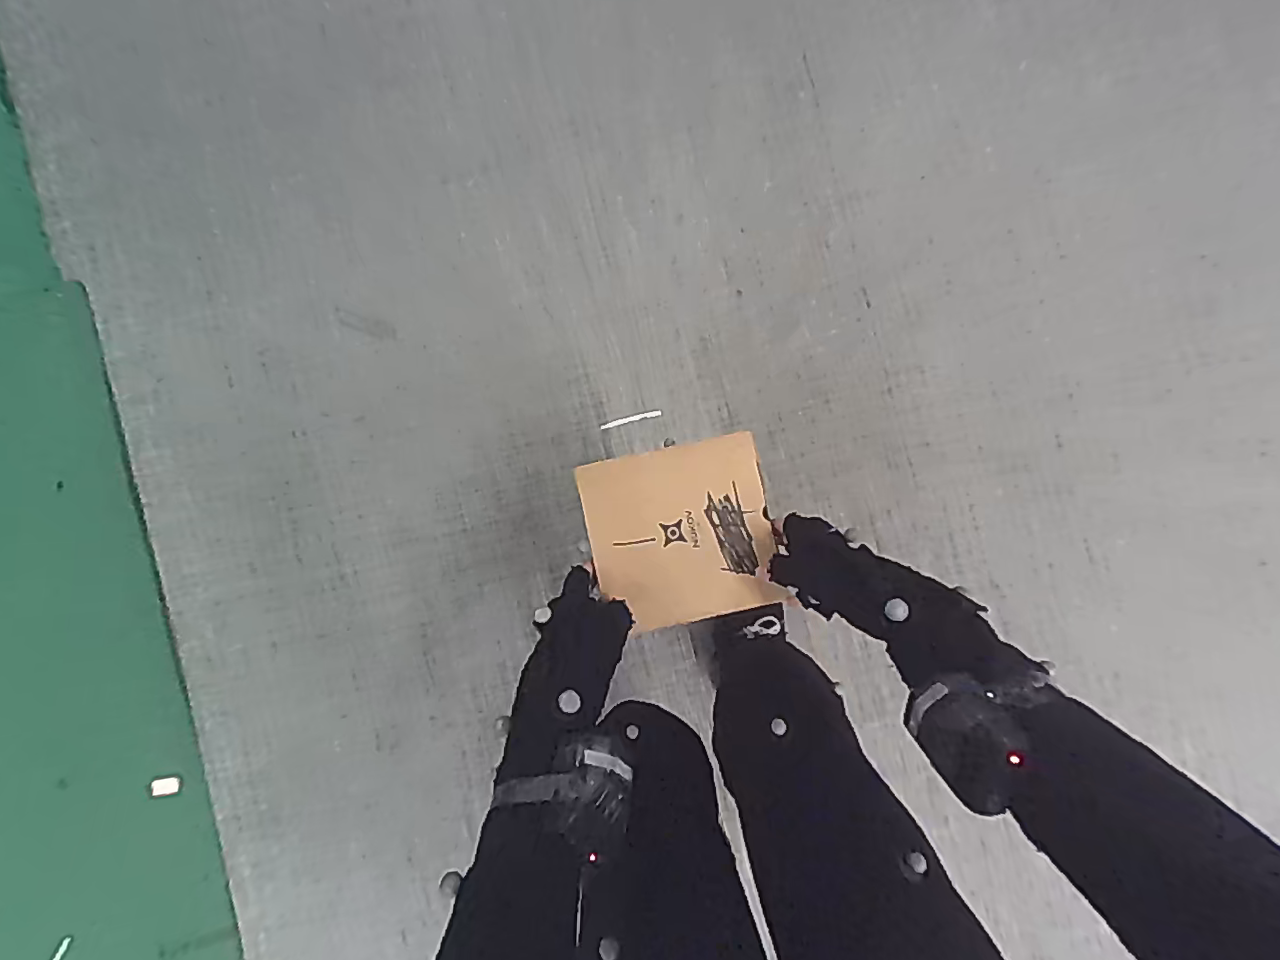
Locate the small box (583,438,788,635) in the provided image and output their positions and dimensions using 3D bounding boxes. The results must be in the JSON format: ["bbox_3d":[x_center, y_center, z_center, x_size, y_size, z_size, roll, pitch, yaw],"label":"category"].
[{"bbox_3d":[0.040,0.058,0.599,0.179,0.176,0.168,-11,85,-3],"label":"small box"}]
